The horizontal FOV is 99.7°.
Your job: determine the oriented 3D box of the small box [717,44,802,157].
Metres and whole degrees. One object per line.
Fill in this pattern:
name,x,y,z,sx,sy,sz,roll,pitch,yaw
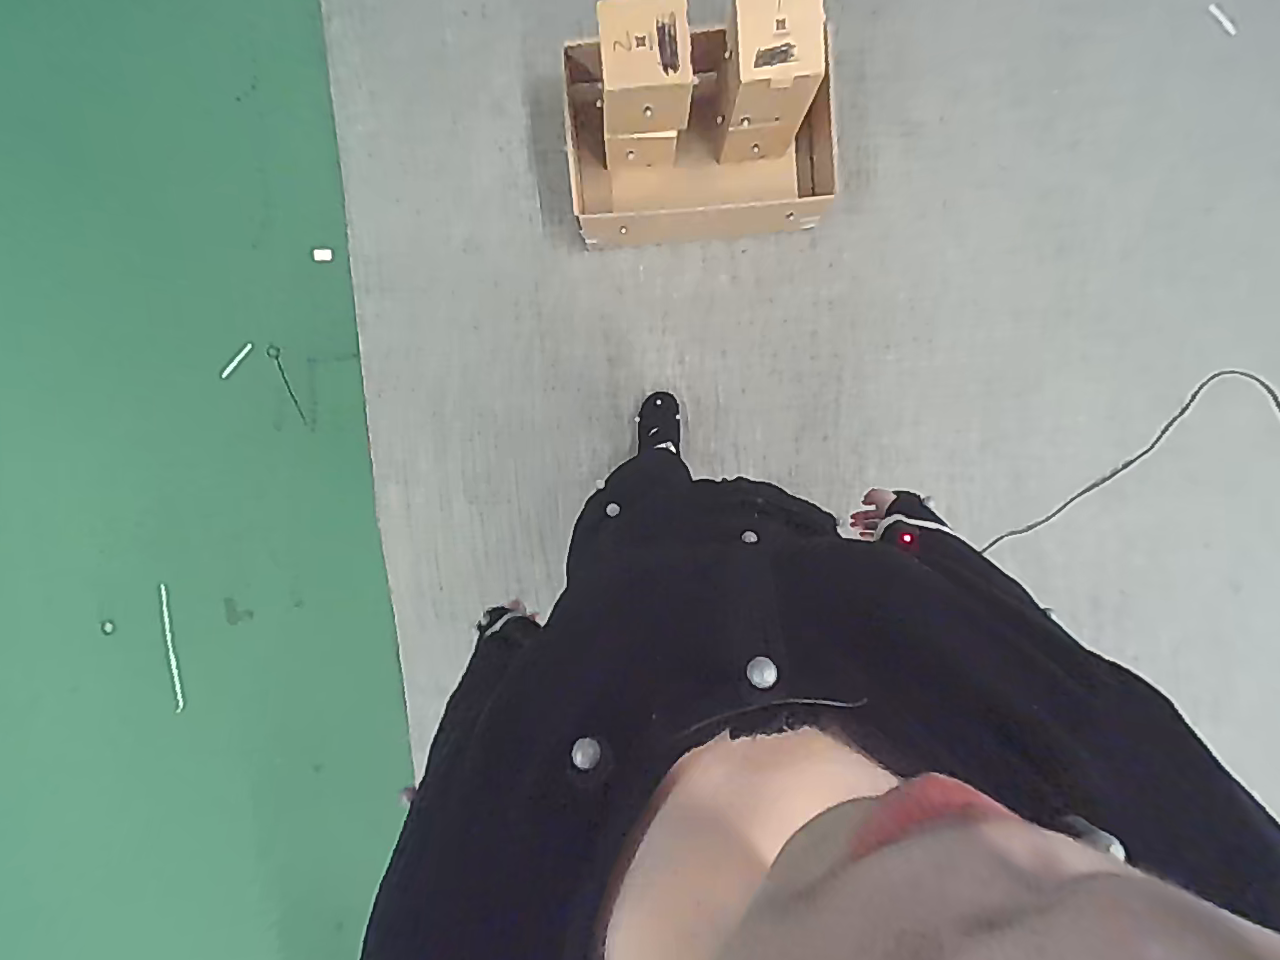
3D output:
small box,0.276,-0.886,1.272,0.168,0.176,0.179,-5,96,2

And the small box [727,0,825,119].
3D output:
small box,0.273,-0.871,1.108,0.168,0.176,0.179,-4,96,2

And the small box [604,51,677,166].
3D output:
small box,0.003,-0.867,1.280,0.168,0.176,0.179,-1,95,0
